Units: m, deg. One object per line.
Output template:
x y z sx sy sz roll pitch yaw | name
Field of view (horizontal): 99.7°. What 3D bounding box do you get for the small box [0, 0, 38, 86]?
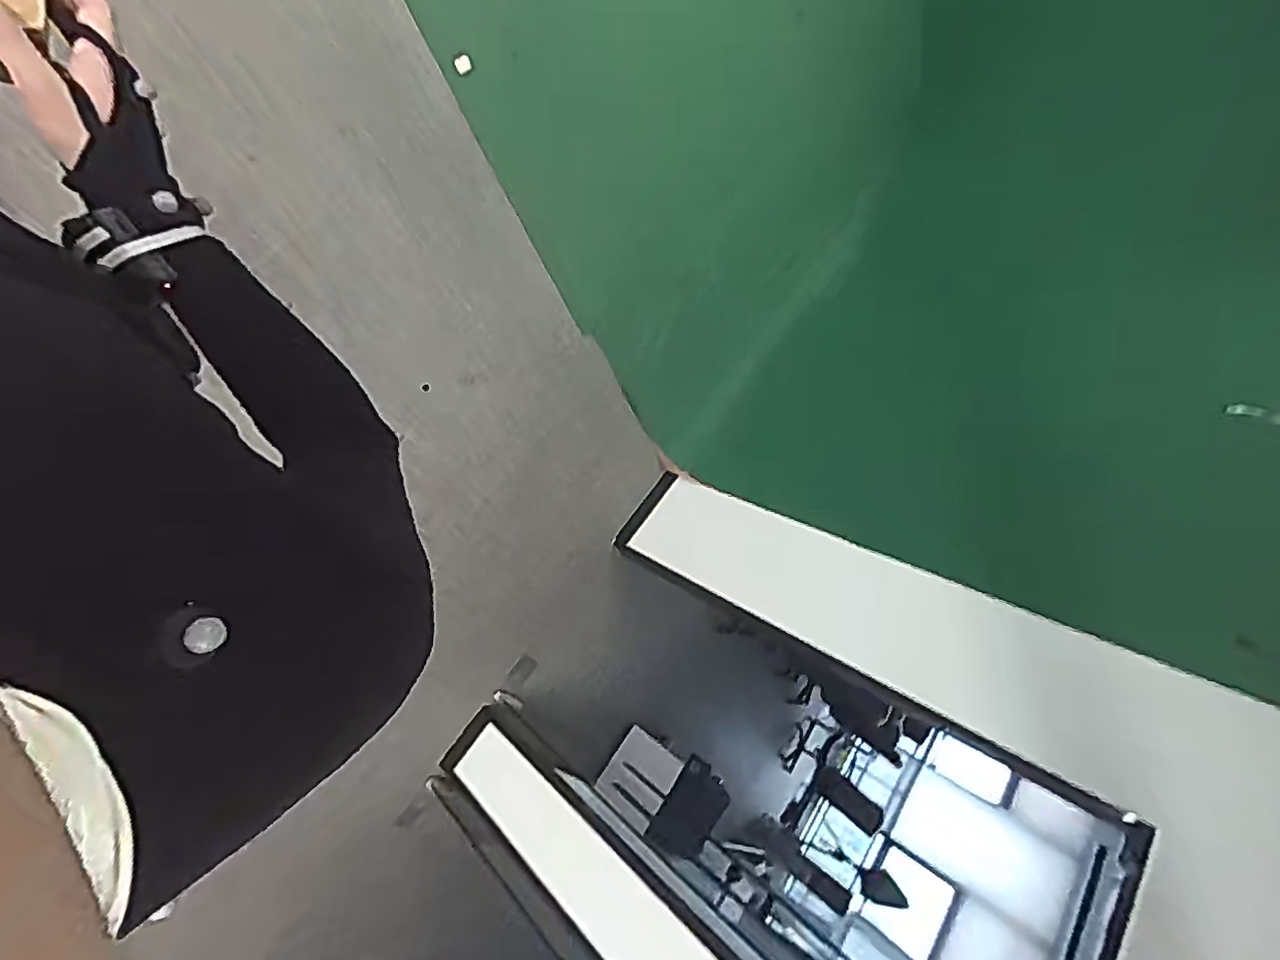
-0.506 -0.399 0.338 0.168 0.176 0.179 5 101 -45 | small box
